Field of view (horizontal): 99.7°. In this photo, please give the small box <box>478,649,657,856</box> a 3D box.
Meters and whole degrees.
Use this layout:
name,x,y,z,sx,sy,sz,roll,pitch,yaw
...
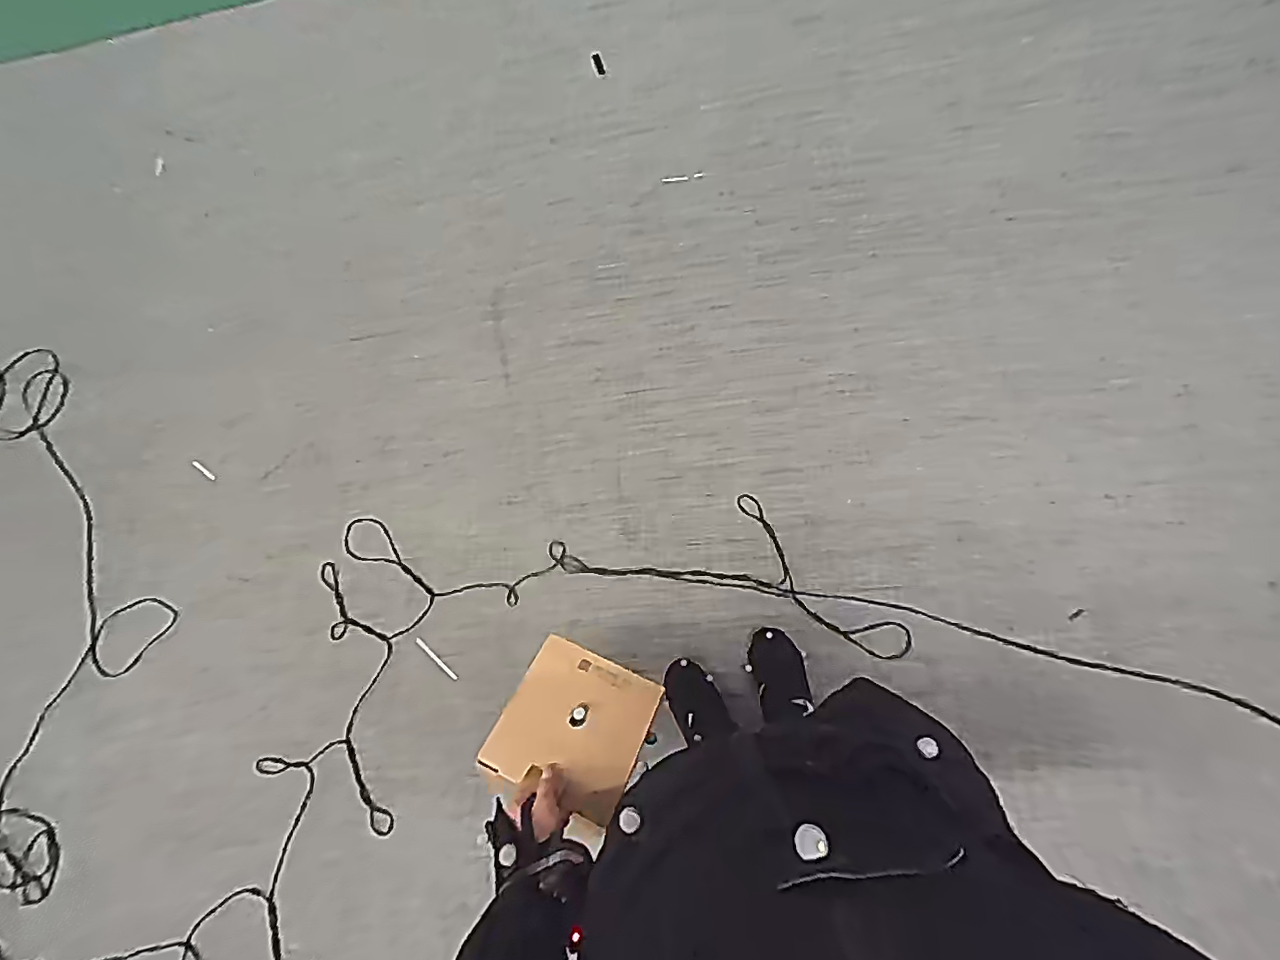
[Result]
name,x,y,z,sx,sy,sz,roll,pitch,yaw
small box,-0.088,0.348,0.701,0.168,0.179,0.176,22,50,9
